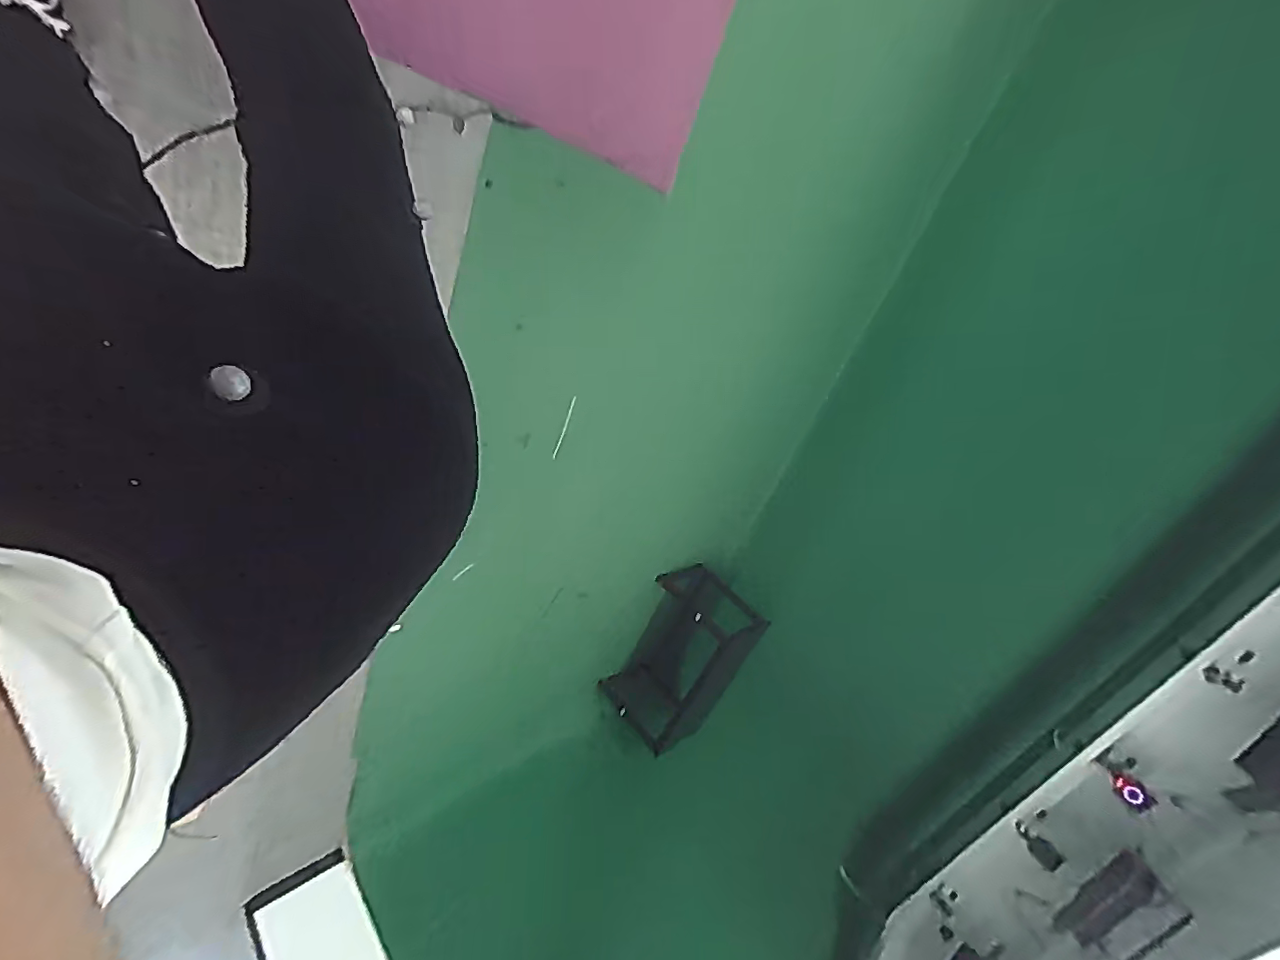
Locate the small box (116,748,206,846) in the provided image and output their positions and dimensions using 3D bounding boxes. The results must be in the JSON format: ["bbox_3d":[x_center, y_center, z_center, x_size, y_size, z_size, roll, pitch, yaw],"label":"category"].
[{"bbox_3d":[-1.494,0.975,1.681,0.179,0.176,0.168,8,118,-53],"label":"small box"}]
